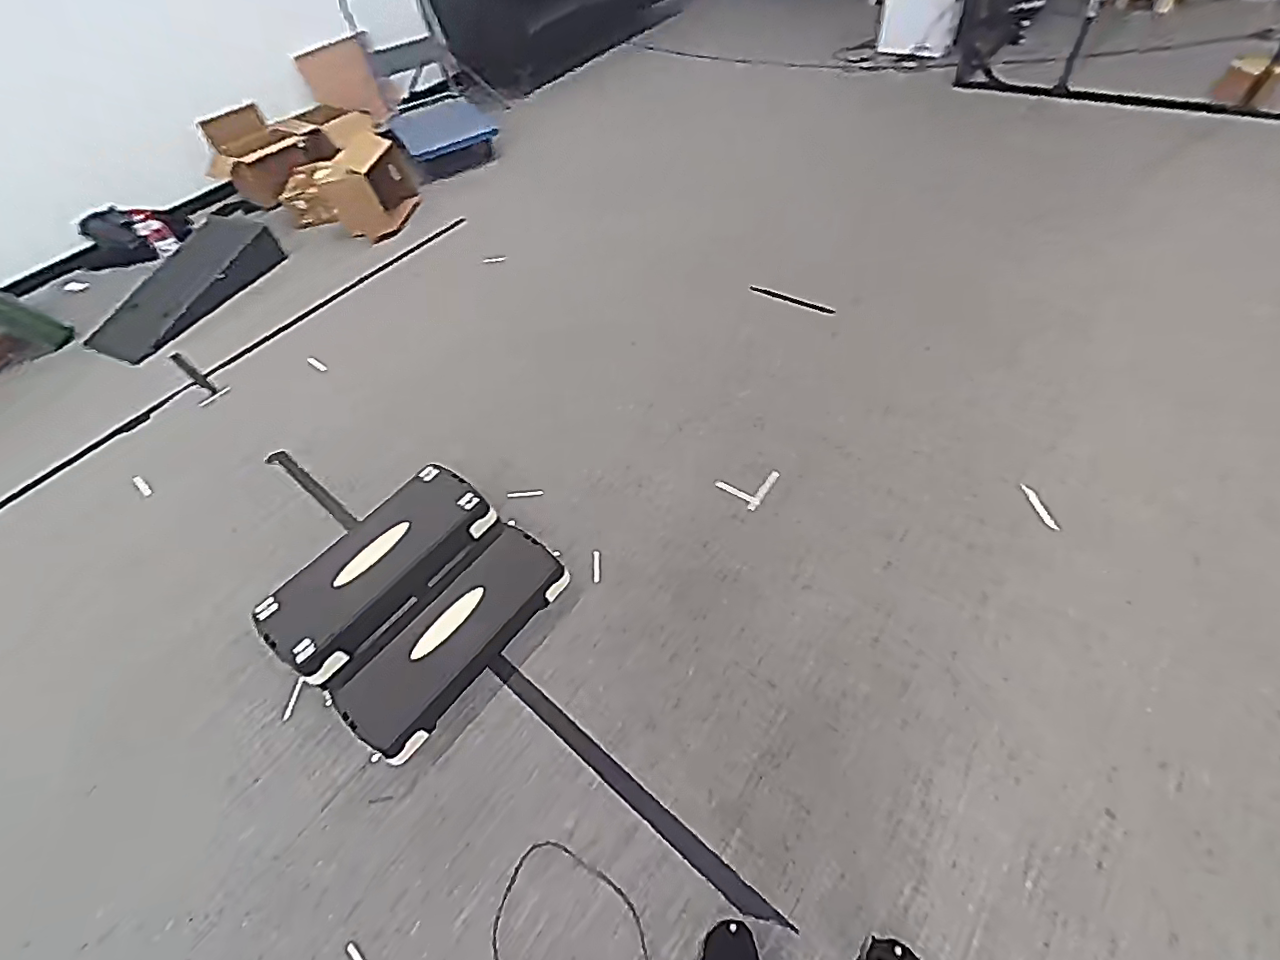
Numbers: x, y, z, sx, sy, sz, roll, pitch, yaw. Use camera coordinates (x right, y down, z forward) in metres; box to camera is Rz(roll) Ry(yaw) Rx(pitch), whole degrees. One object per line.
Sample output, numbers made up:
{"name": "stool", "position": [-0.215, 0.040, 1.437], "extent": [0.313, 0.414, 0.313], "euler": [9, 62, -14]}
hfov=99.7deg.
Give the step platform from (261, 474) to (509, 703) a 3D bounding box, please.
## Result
{"name": "step platform", "position": [-0.730, 0.292, 1.601], "extent": [0.286, 0.204, 0.684], "euler": [29, 61, 27]}
